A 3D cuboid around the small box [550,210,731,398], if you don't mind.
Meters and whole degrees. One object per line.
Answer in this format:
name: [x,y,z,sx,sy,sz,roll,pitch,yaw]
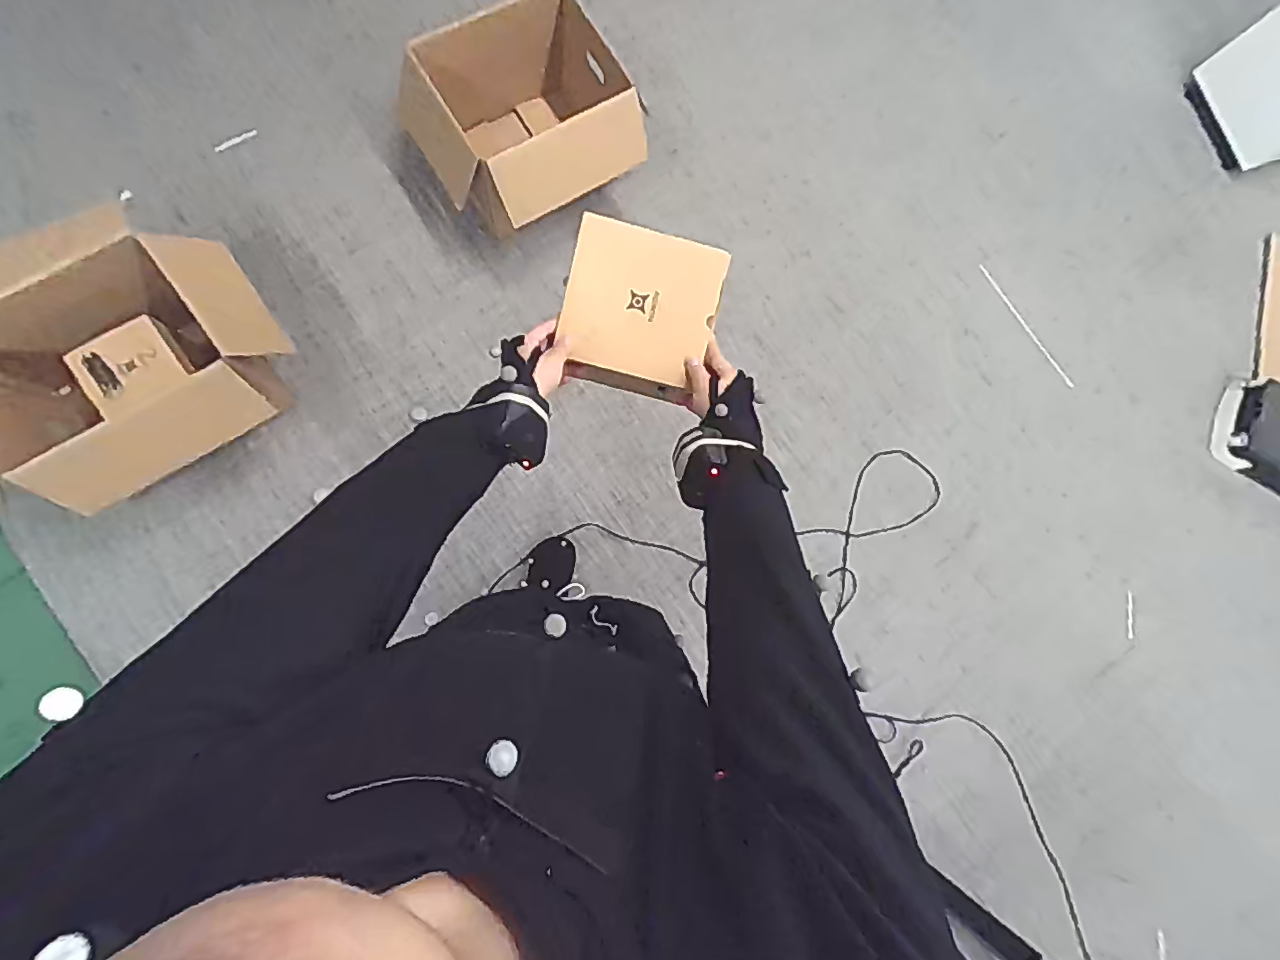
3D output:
small box: [-0.004,-0.207,0.689,0.179,0.176,0.168,14,92,-5]
